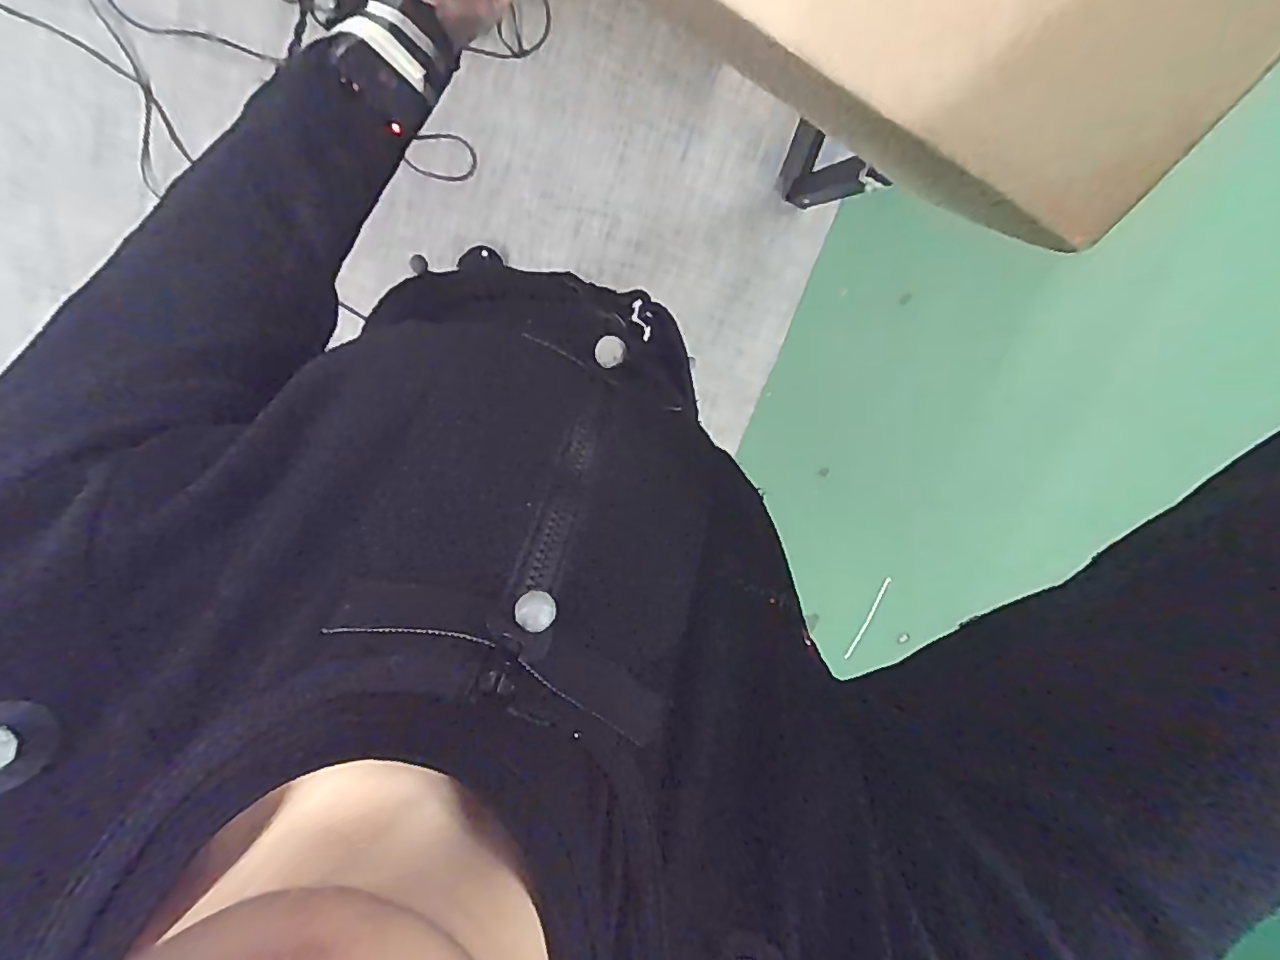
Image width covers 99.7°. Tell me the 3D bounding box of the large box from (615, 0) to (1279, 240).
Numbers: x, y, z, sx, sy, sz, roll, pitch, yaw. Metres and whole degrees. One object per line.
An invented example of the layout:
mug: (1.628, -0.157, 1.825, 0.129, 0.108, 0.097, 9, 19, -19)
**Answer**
large box: (0.088, -0.367, 0.226, 0.408, 0.320, 0.320, 26, 125, -7)
